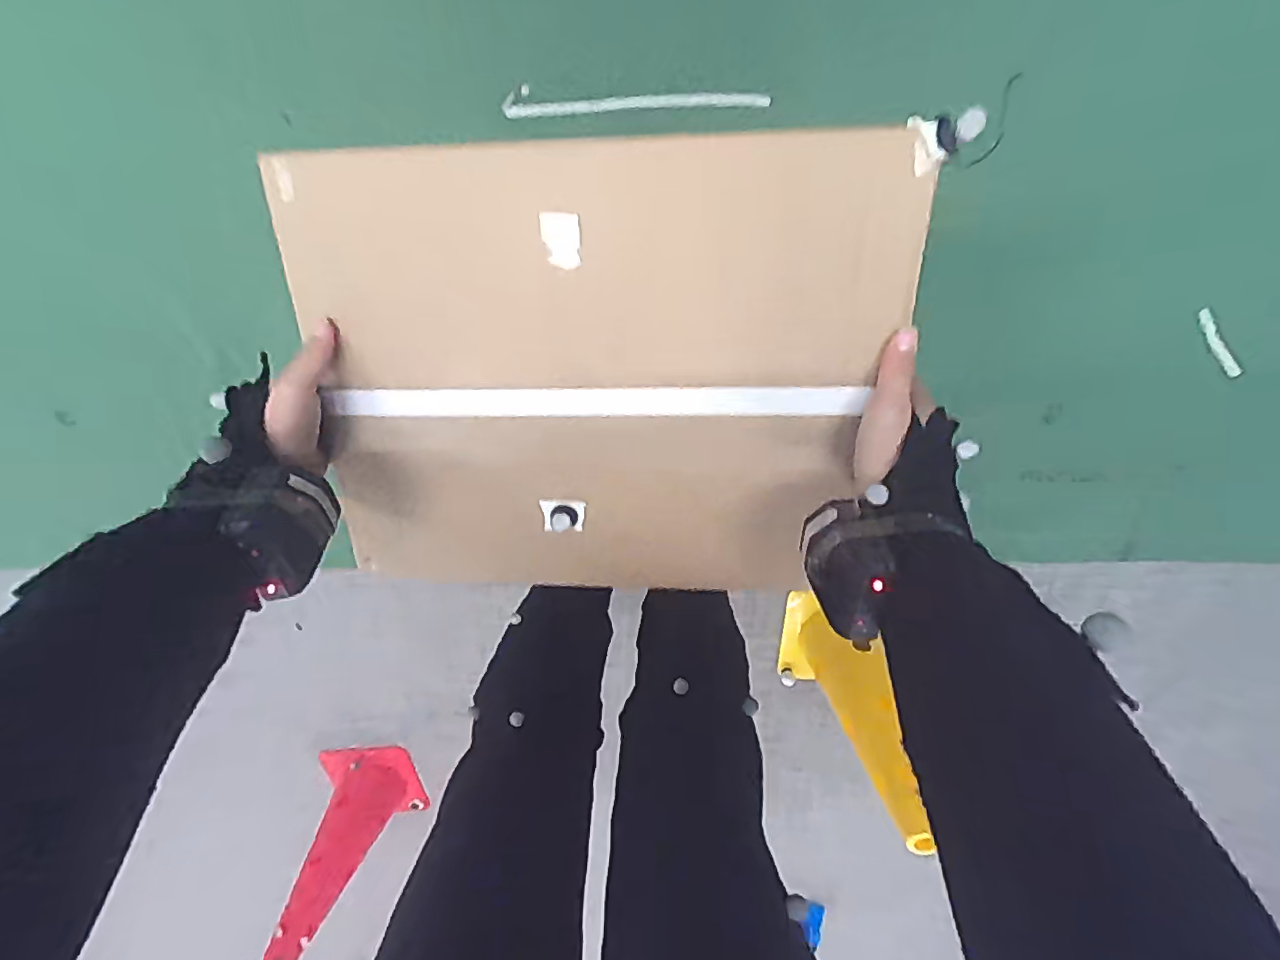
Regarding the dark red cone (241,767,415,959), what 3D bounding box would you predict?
[{"bbox_3d":[-0.593,0.732,0.973,0.202,0.394,0.201,-8,110,7],"label":"dark red cone"}]
